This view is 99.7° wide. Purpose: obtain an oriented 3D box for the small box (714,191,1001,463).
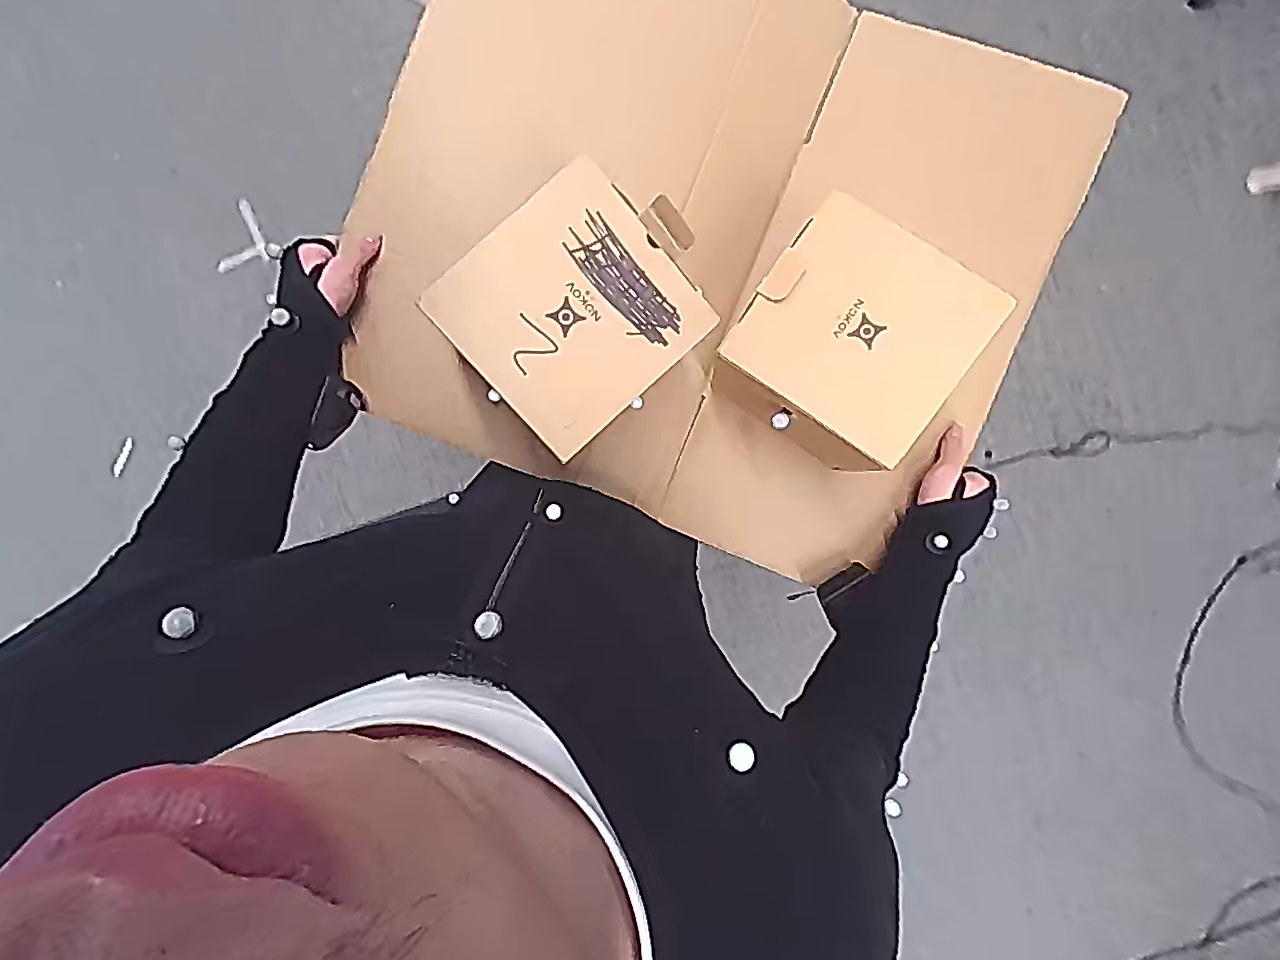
[{"bbox_3d":[0.189,-0.131,0.530,0.179,0.176,0.168,34,94,6],"label":"small box"}]
